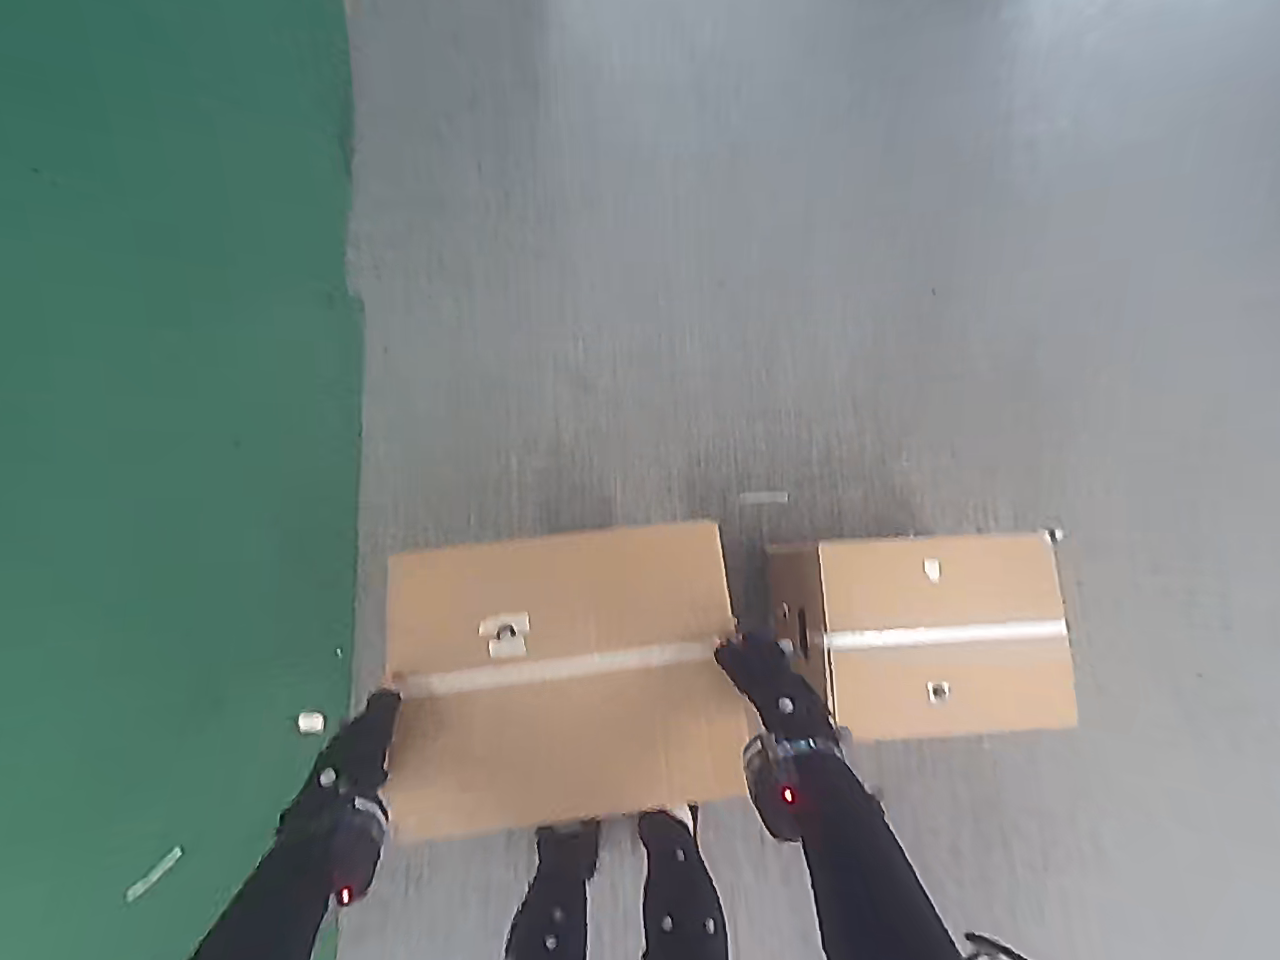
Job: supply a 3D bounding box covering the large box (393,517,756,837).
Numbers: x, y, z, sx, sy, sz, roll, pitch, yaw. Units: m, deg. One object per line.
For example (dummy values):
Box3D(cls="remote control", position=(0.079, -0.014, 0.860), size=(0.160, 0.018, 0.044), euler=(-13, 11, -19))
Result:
Box3D(cls="large box", position=(-0.088, 0.253, 0.771), size=(0.408, 0.320, 0.320), euler=(-6, 73, -4))
